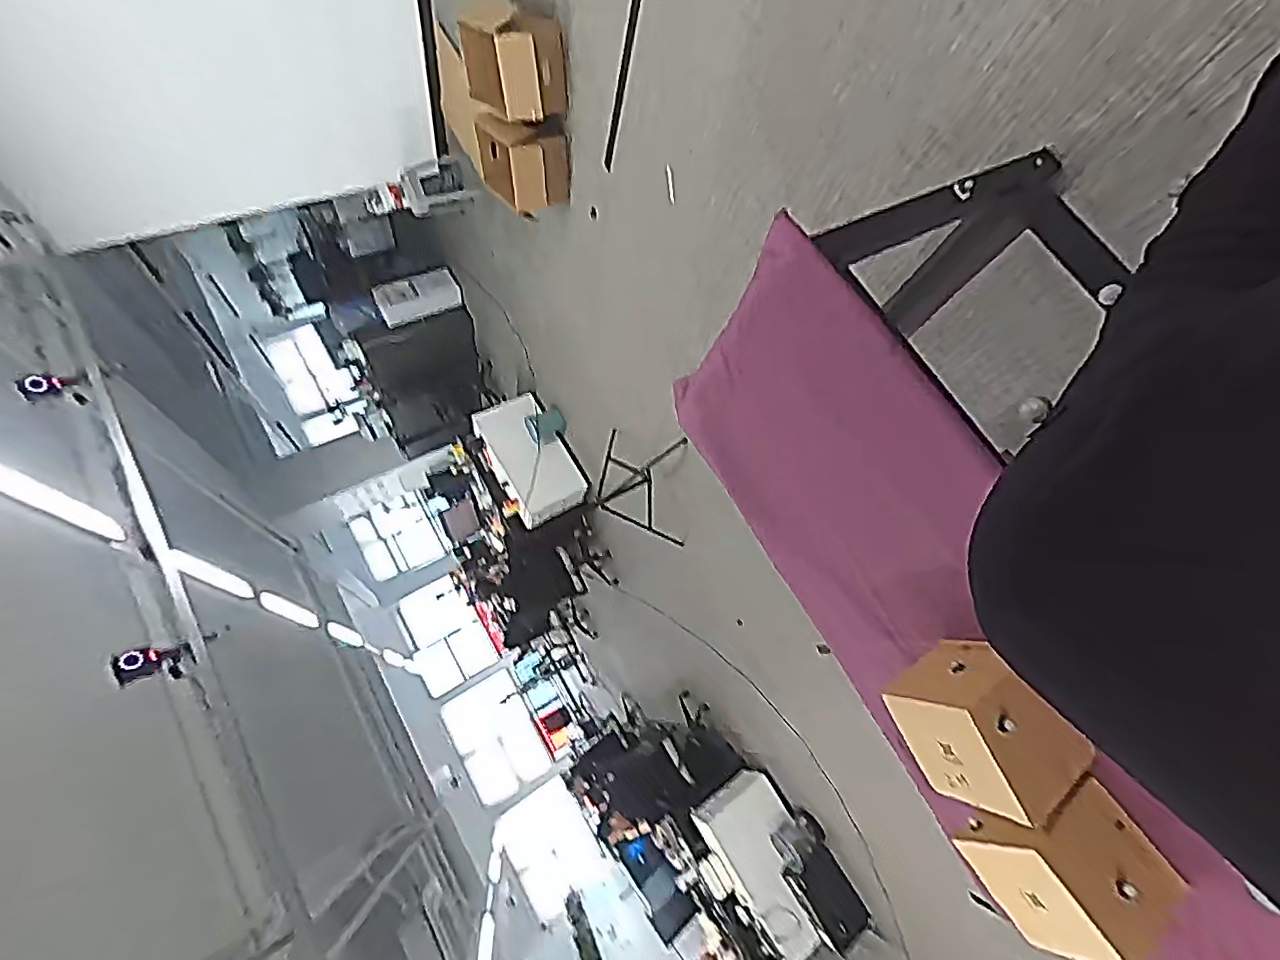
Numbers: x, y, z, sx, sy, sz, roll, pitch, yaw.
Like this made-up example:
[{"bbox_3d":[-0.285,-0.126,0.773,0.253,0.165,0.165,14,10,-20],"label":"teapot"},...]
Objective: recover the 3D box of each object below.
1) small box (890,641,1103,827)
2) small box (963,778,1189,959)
[{"bbox_3d":[0.525,0.359,0.807,0.179,0.176,0.168,61,159,4],"label":"small box"},{"bbox_3d":[0.637,0.562,0.793,0.168,0.176,0.179,54,156,20],"label":"small box"}]
